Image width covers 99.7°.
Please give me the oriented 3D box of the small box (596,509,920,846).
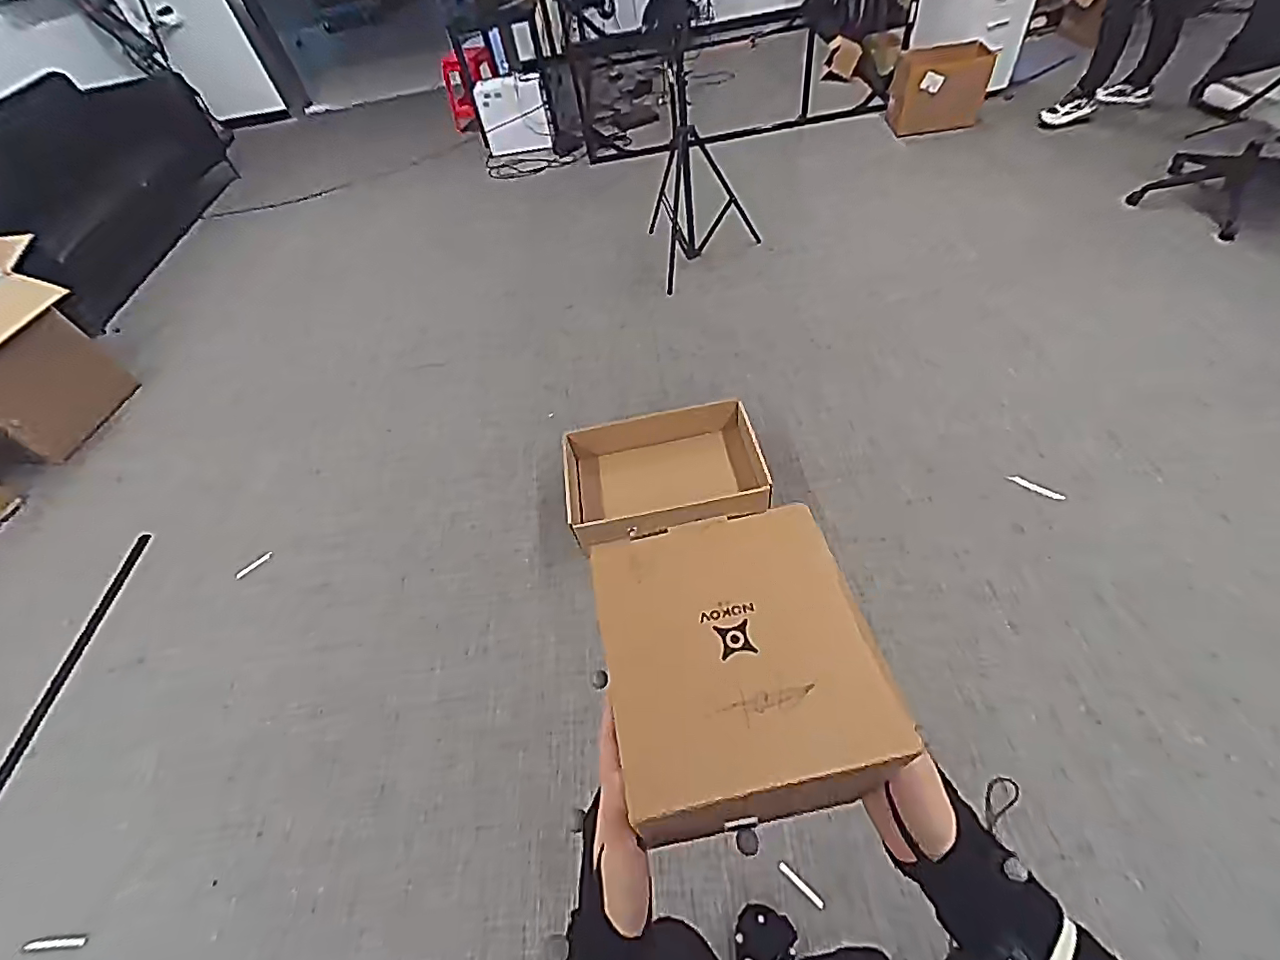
[{"bbox_3d":[0.066,0.150,0.407,0.168,0.176,0.179,-11,51,-3],"label":"small box"}]
